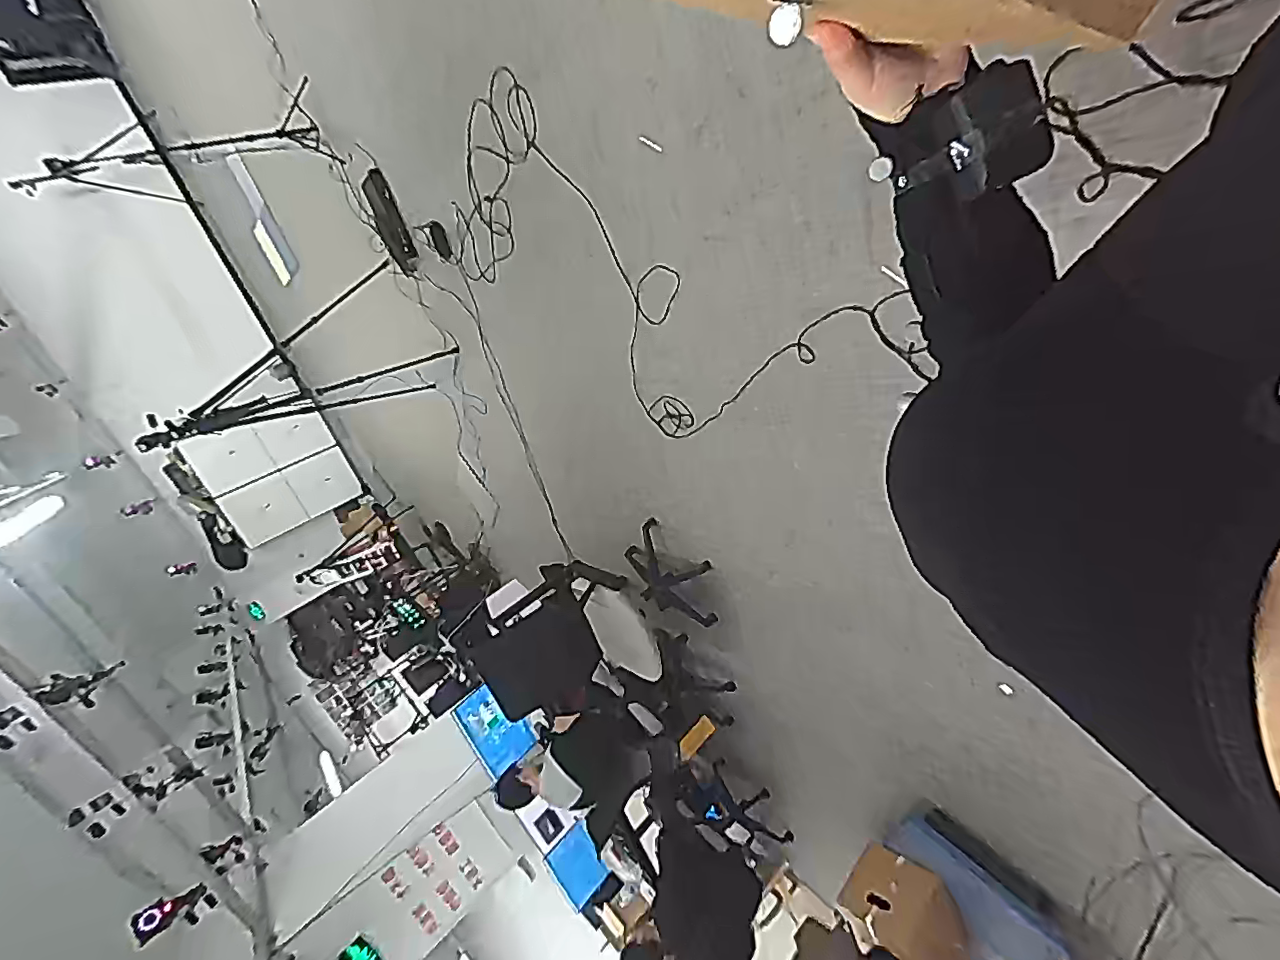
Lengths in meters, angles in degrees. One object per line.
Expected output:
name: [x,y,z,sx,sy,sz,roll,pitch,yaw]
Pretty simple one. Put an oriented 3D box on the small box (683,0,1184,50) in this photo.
small box: [0.111,-0.272,0.196,0.179,0.176,0.168,46,140,42]
